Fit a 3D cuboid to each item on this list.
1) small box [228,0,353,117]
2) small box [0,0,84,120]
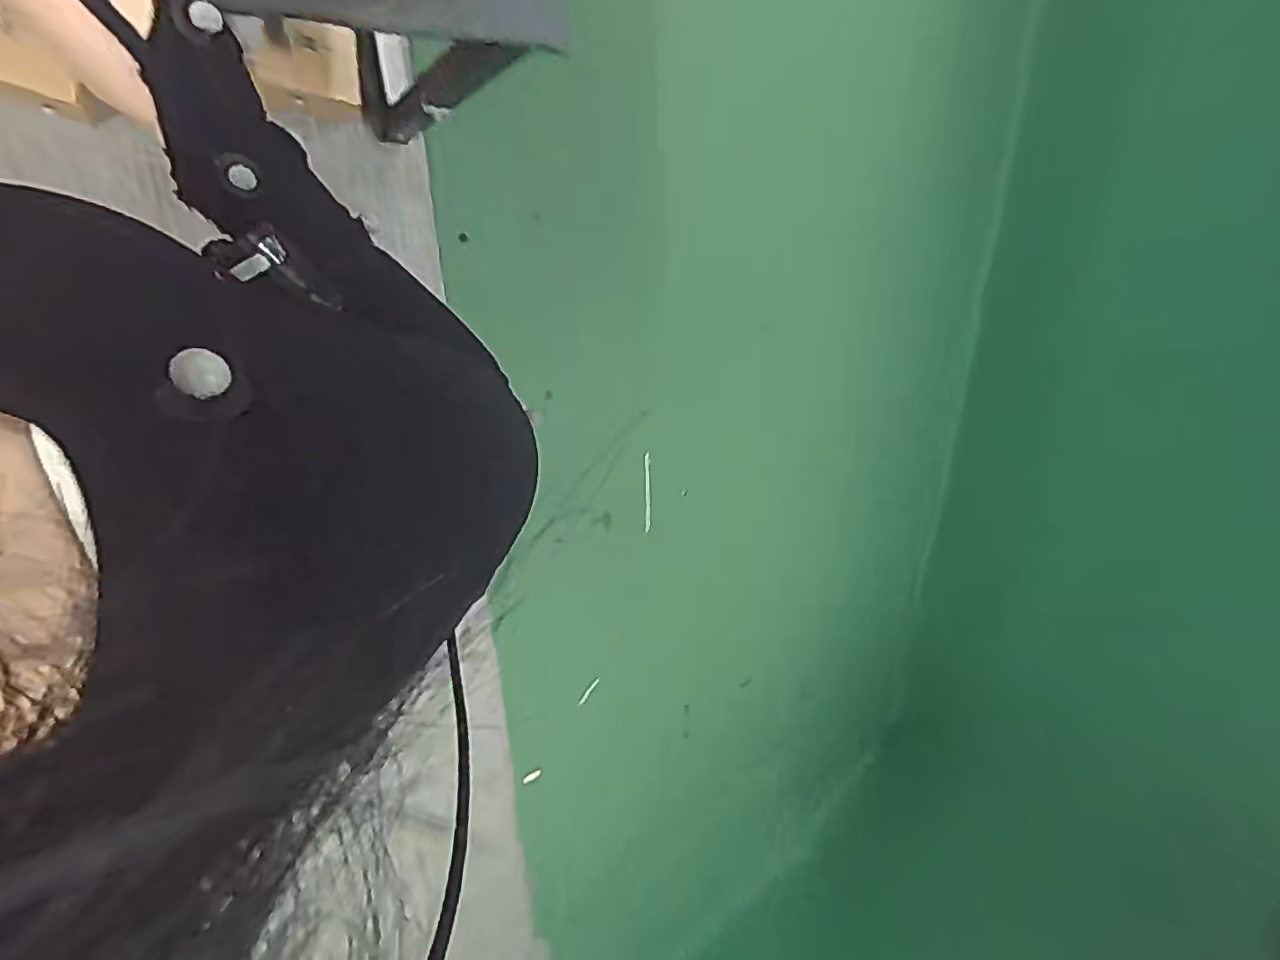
[{"bbox_3d":[-0.669,-0.819,1.033,0.179,0.176,0.168,-11,113,-37],"label":"small box"},{"bbox_3d":[-0.987,-0.682,0.827,0.179,0.176,0.168,0,105,-37],"label":"small box"}]
